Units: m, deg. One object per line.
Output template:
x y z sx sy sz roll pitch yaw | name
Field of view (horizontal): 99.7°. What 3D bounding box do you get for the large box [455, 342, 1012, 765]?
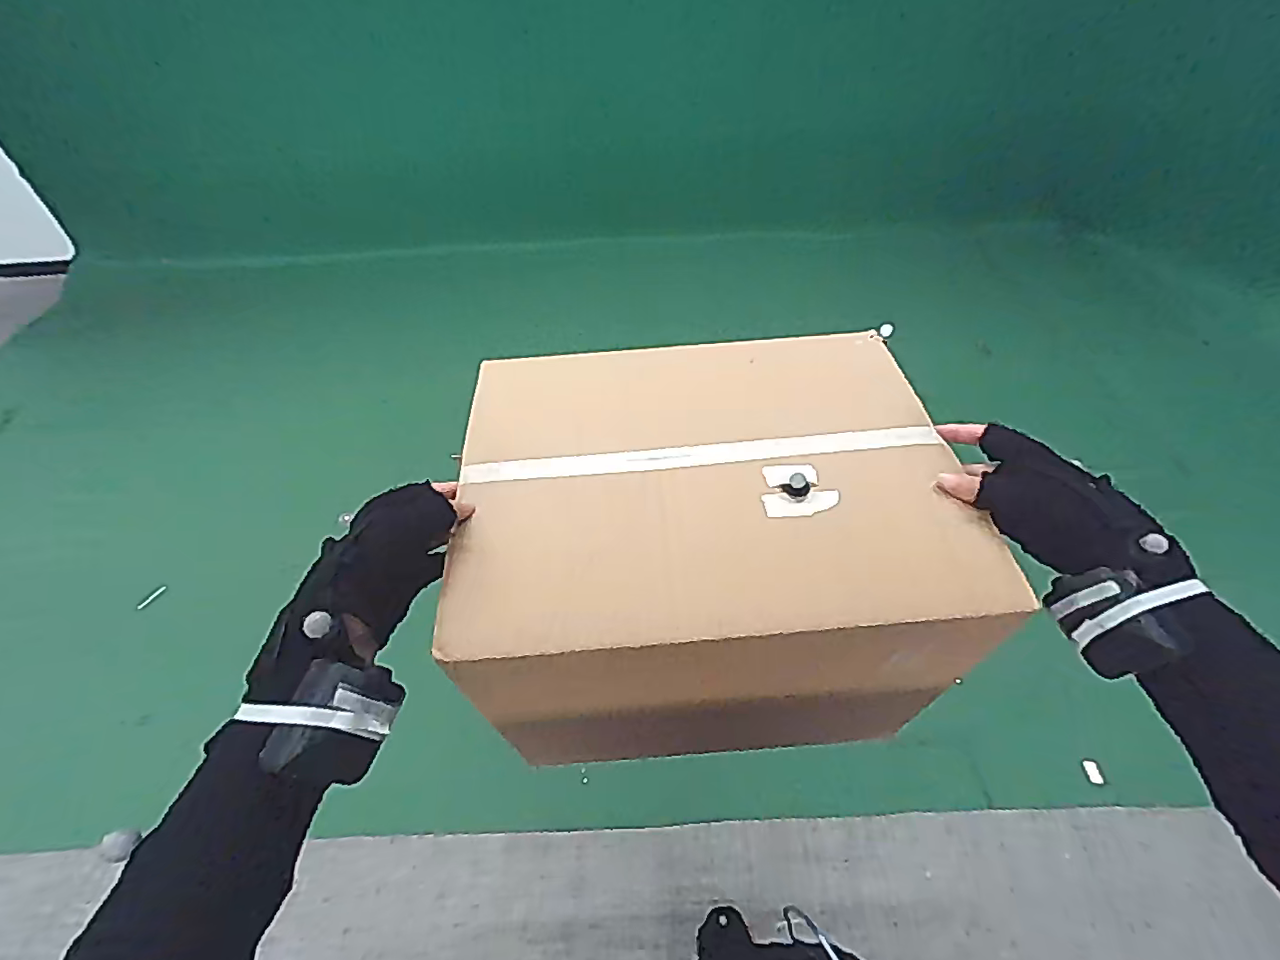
0.060 0.085 0.583 0.408 0.320 0.320 -5 51 -1 | large box
